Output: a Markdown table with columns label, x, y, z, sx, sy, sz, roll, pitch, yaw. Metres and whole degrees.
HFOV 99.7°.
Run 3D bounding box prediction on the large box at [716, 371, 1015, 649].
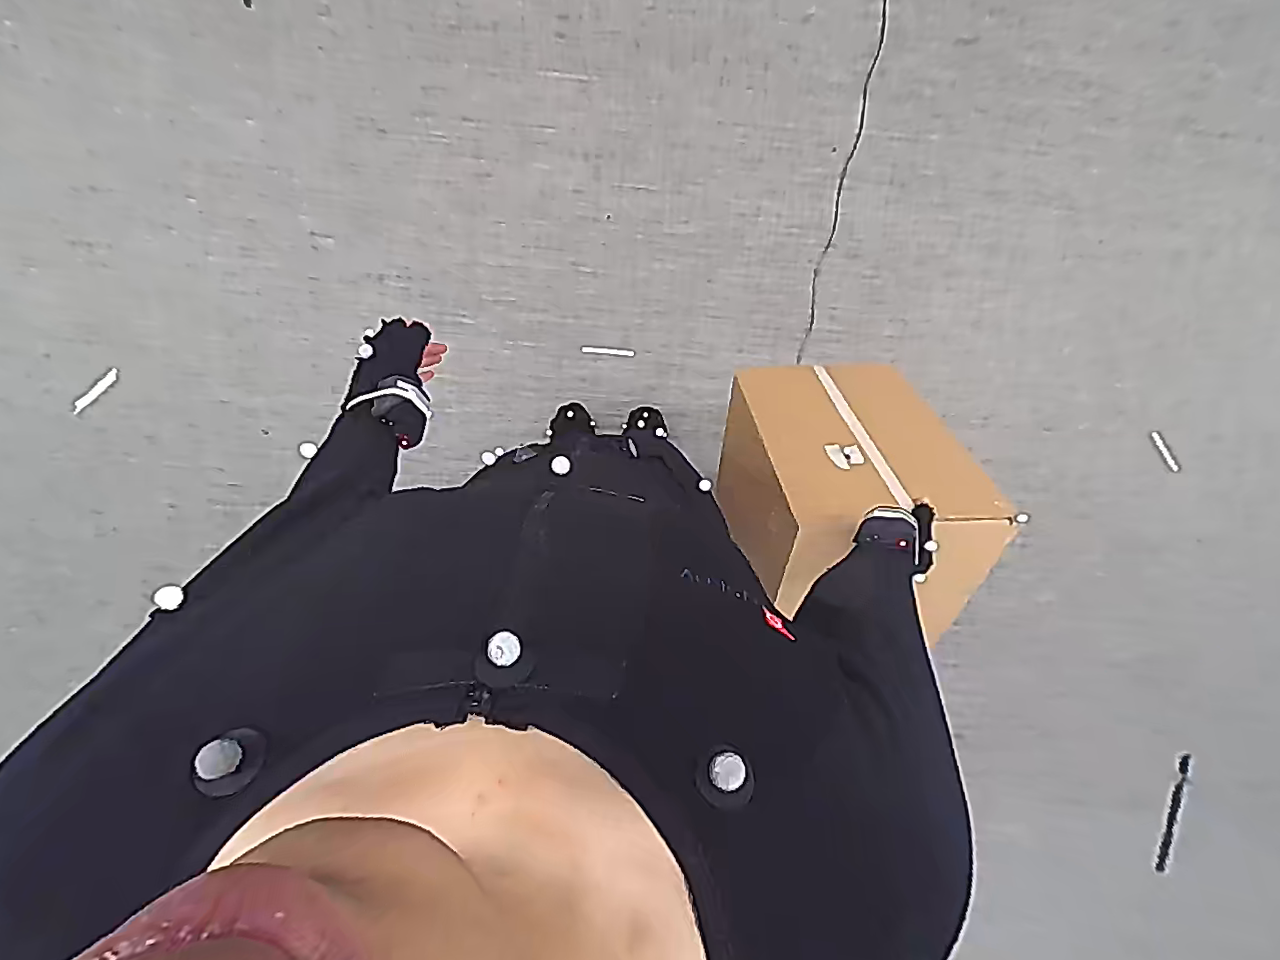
| label | x | y | z | sx | sy | sz | roll | pitch | yaw |
| --- | --- | --- | --- | --- | --- | --- | --- | --- | --- |
| large box | 0.343 | 0.042 | 0.976 | 0.320 | 0.408 | 0.320 | -2 | 133 | -5 |
